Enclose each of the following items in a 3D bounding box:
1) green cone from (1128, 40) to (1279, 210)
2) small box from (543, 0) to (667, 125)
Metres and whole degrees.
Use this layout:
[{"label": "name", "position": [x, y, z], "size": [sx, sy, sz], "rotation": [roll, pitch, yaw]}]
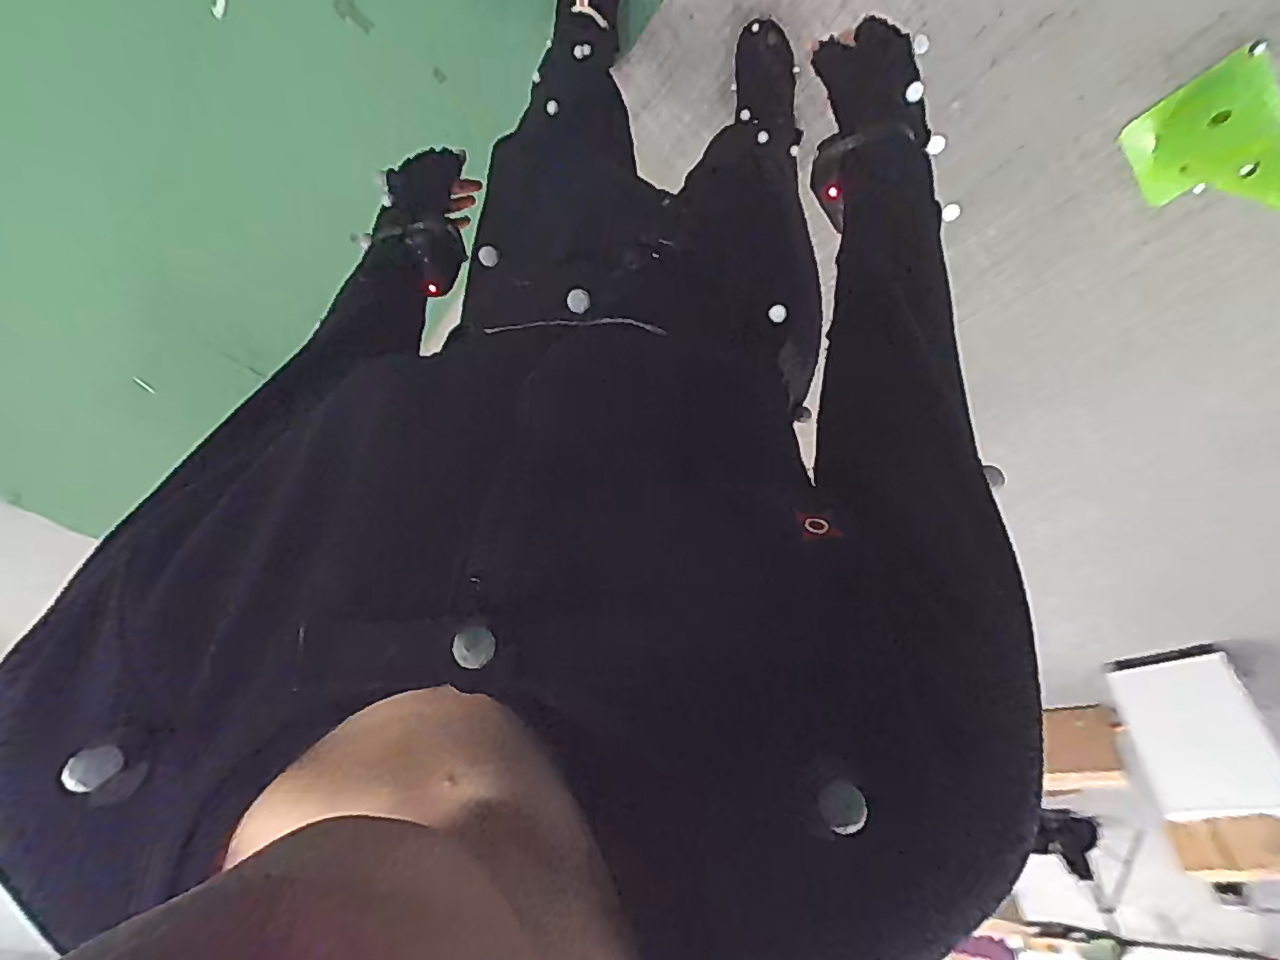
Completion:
[{"label": "green cone", "position": [1.007, -0.507, 0.870], "size": [0.202, 0.368, 0.200], "rotation": [33, 135, -25]}, {"label": "small box", "position": [-0.068, -0.806, 0.979], "size": [0.168, 0.176, 0.179], "rotation": [11, 147, -27]}]
